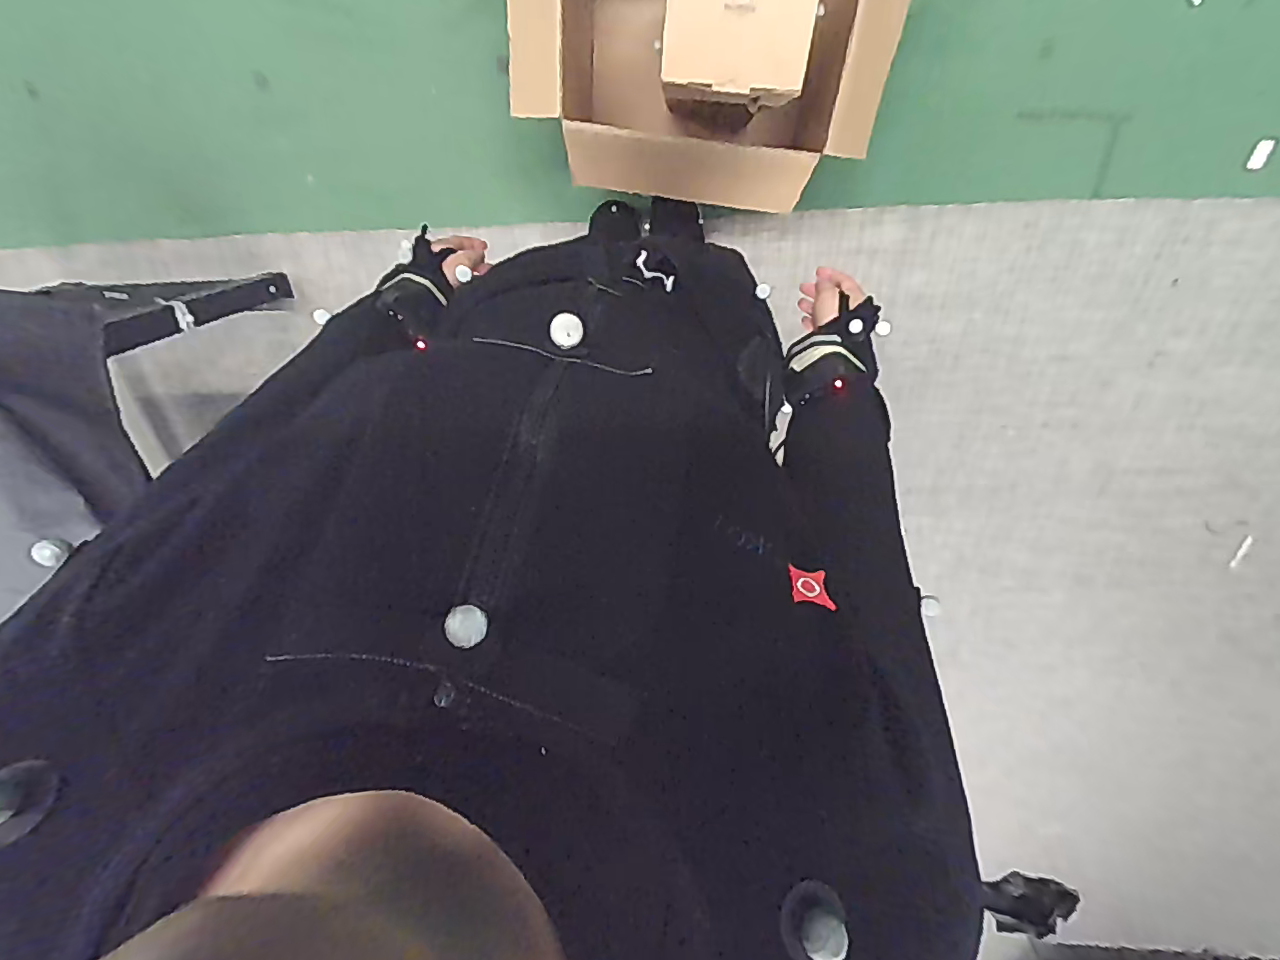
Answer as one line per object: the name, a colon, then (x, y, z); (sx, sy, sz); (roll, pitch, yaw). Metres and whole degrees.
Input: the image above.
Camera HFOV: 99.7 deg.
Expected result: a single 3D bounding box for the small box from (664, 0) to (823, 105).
small box: (0.121, -0.562, 0.643); (0.168, 0.176, 0.179); (5, 120, 1)
